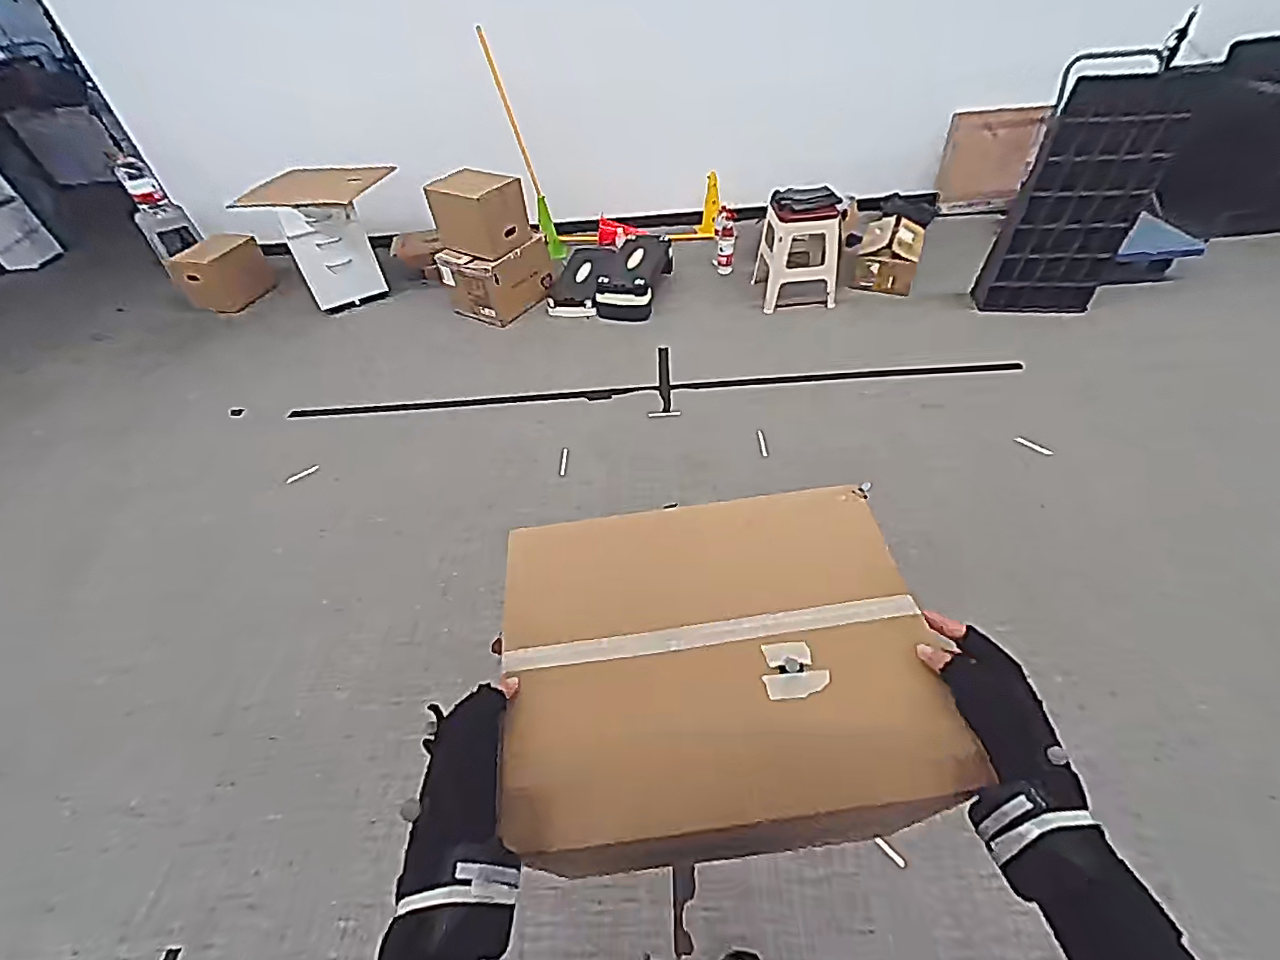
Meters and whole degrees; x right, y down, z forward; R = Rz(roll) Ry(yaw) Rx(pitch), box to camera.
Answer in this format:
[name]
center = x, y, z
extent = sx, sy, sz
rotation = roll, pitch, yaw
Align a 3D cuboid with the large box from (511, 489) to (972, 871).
[large box]
center = 0.078, 0.249, 0.658
extent = 0.408, 0.320, 0.320
rotation = -8, 52, -1
